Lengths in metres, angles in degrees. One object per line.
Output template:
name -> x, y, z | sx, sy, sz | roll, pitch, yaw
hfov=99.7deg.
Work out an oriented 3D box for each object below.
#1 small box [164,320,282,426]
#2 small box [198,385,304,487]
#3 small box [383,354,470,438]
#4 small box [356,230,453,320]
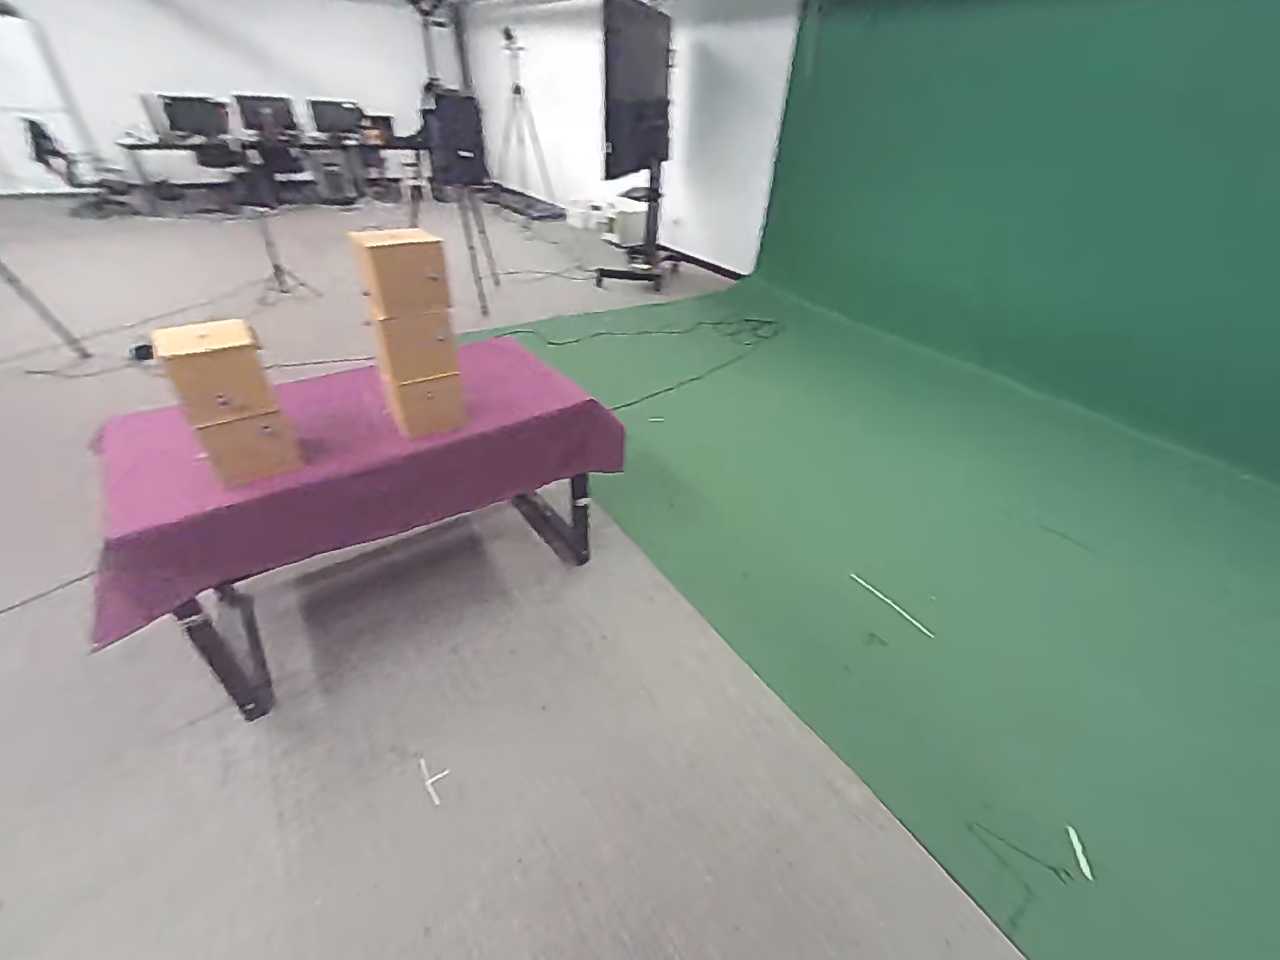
small box -> -0.942, -0.244, 1.226 | 0.168, 0.176, 0.179 | -22, 43, -31
small box -> -0.945, -0.110, 1.319 | 0.179, 0.176, 0.168 | -22, 42, -31
small box -> -0.598, -0.237, 1.527 | 0.179, 0.176, 0.168 | -20, 42, -30
small box -> -0.581, -0.515, 1.353 | 0.179, 0.176, 0.168 | -21, 42, -31
